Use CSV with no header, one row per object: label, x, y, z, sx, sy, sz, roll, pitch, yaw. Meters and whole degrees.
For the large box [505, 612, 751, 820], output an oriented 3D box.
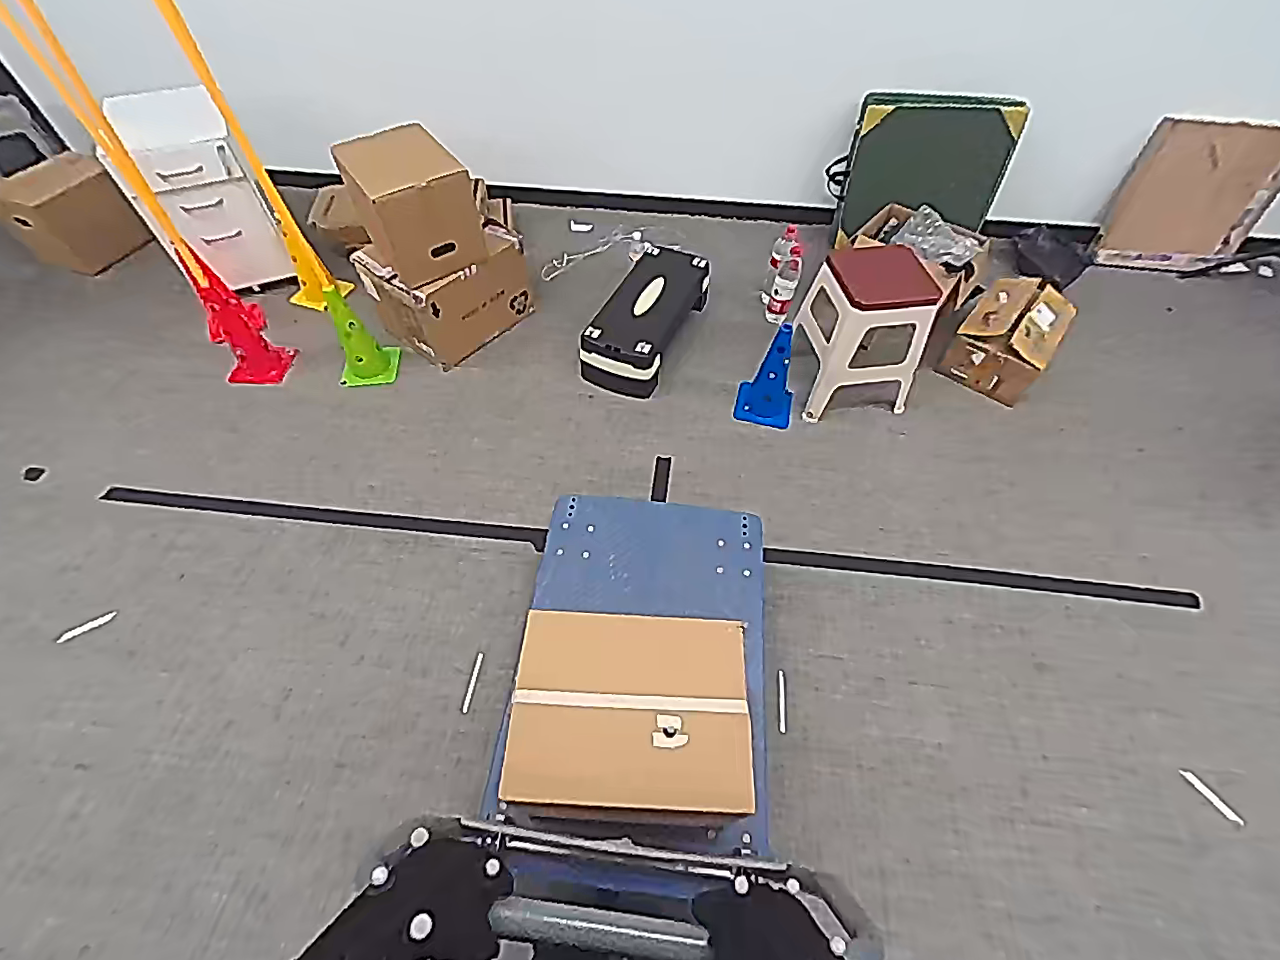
large box,-0.023,0.474,1.069,0.408,0.320,0.320,4,55,-1
